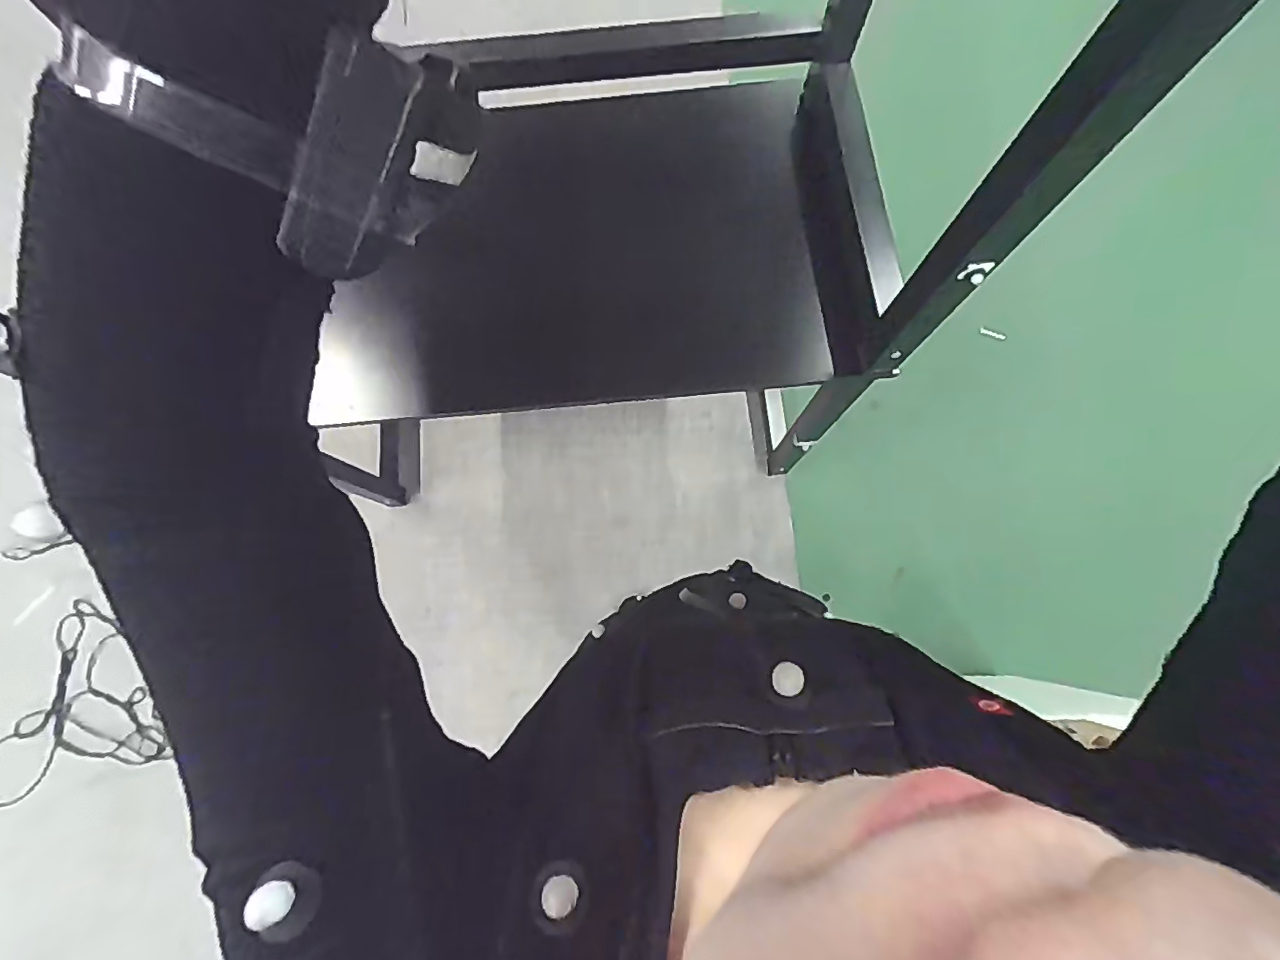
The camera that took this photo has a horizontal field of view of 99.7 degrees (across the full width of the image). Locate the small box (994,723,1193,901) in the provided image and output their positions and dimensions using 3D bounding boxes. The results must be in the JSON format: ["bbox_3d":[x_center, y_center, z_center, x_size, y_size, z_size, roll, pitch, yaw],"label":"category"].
[{"bbox_3d":[0.631,0.445,0.754,0.168,0.176,0.179,-2,77,2],"label":"small box"}]
